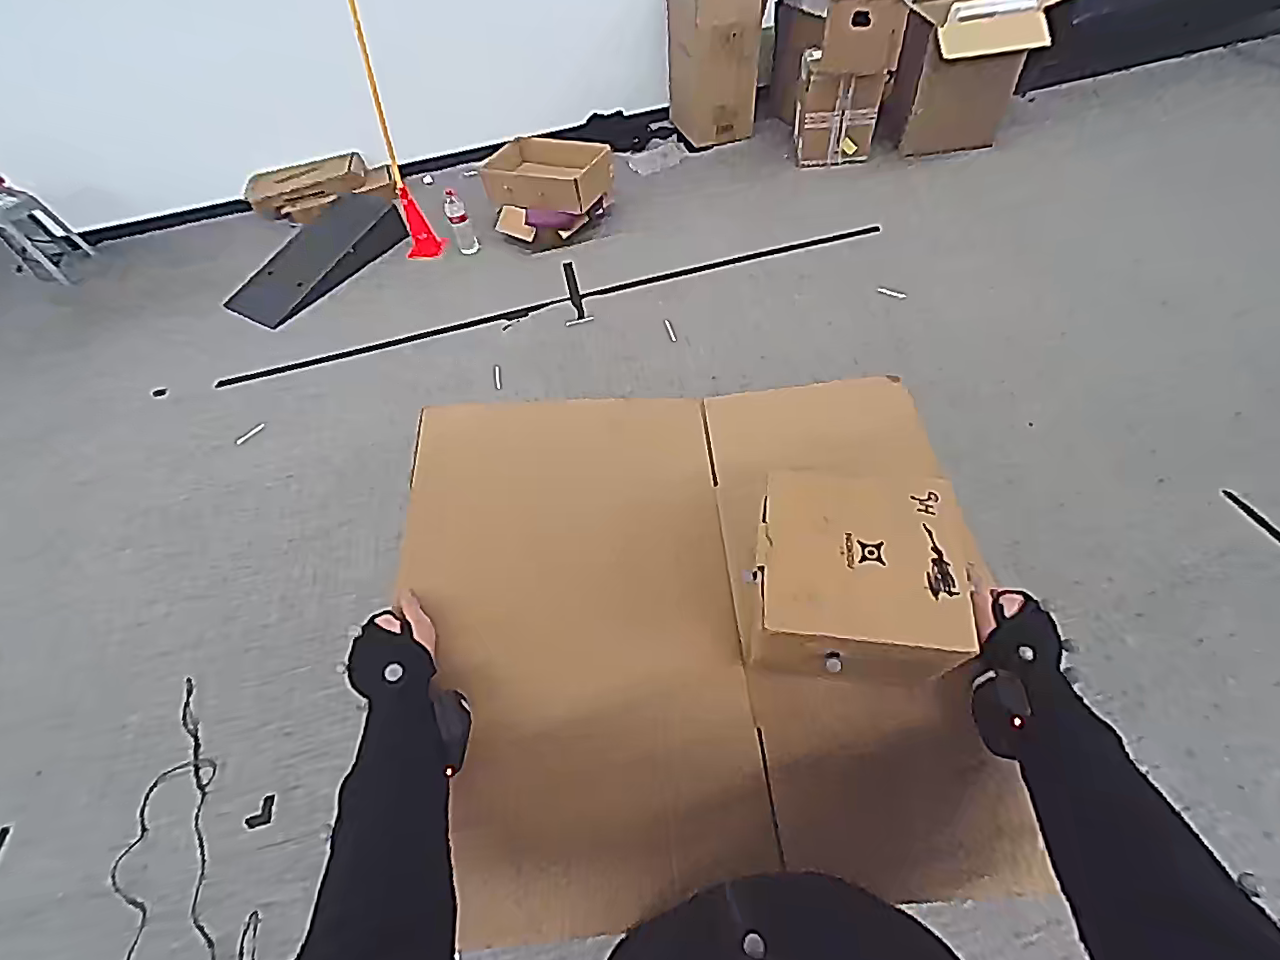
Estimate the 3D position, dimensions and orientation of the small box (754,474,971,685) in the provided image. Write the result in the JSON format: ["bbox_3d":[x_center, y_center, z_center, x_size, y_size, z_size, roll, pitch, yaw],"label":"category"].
[{"bbox_3d":[0.213,0.109,0.569,0.179,0.176,0.168,3,60,11],"label":"small box"}]
